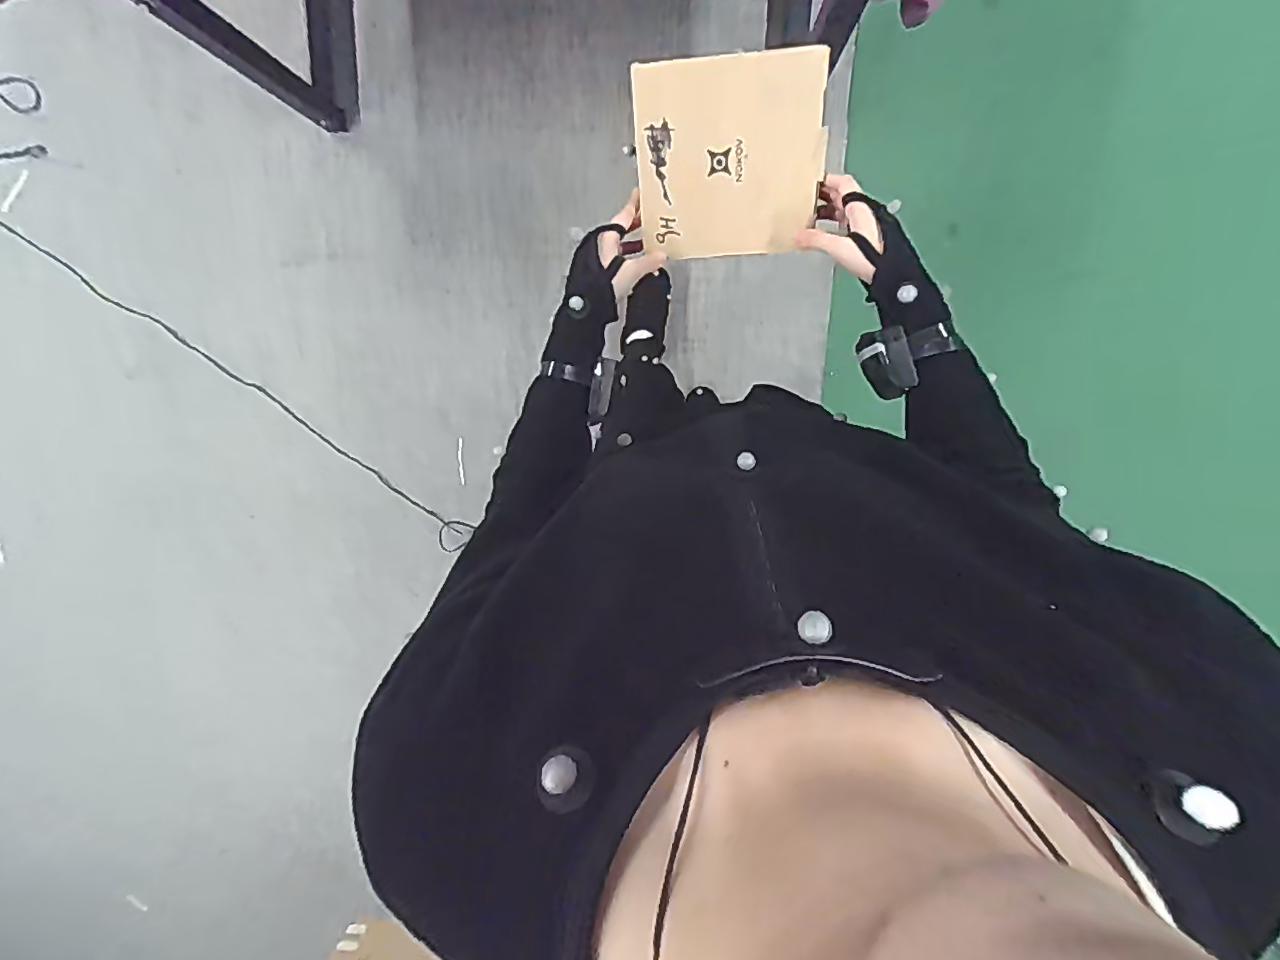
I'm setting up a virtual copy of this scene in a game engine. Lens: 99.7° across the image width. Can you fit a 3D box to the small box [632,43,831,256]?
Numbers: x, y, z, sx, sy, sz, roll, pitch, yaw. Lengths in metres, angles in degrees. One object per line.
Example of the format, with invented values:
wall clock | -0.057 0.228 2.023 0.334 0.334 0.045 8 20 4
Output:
small box | 0.085 -0.340 0.574 0.179 0.176 0.168 -2 118 4
